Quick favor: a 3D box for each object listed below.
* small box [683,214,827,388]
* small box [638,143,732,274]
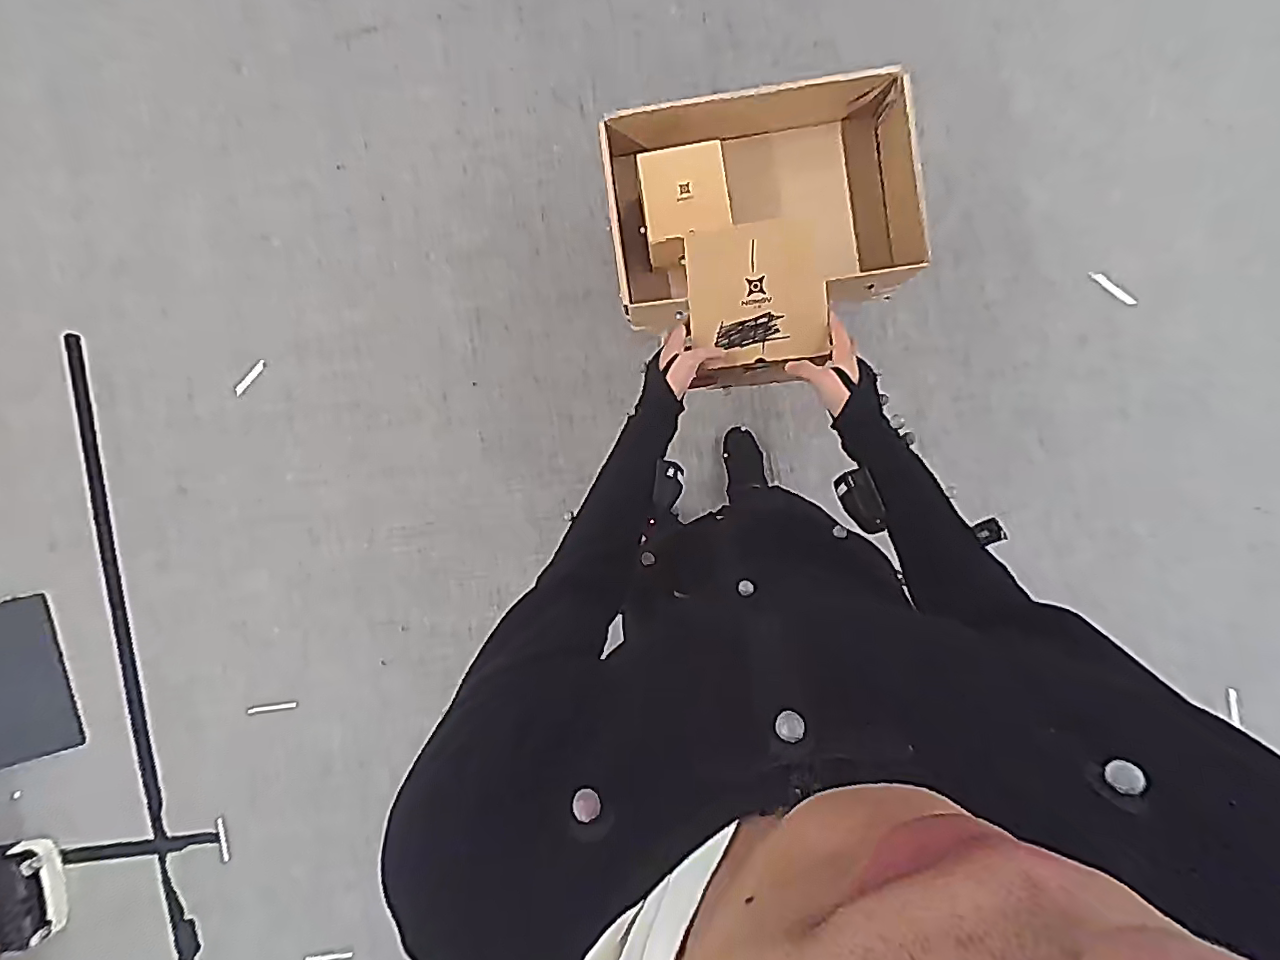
[{"bbox_3d":[0.155,-0.224,0.732,0.168,0.176,0.179,-4,90,12],"label":"small box"},{"bbox_3d":[0.088,-0.556,1.128,0.168,0.176,0.179,-9,92,2],"label":"small box"}]
